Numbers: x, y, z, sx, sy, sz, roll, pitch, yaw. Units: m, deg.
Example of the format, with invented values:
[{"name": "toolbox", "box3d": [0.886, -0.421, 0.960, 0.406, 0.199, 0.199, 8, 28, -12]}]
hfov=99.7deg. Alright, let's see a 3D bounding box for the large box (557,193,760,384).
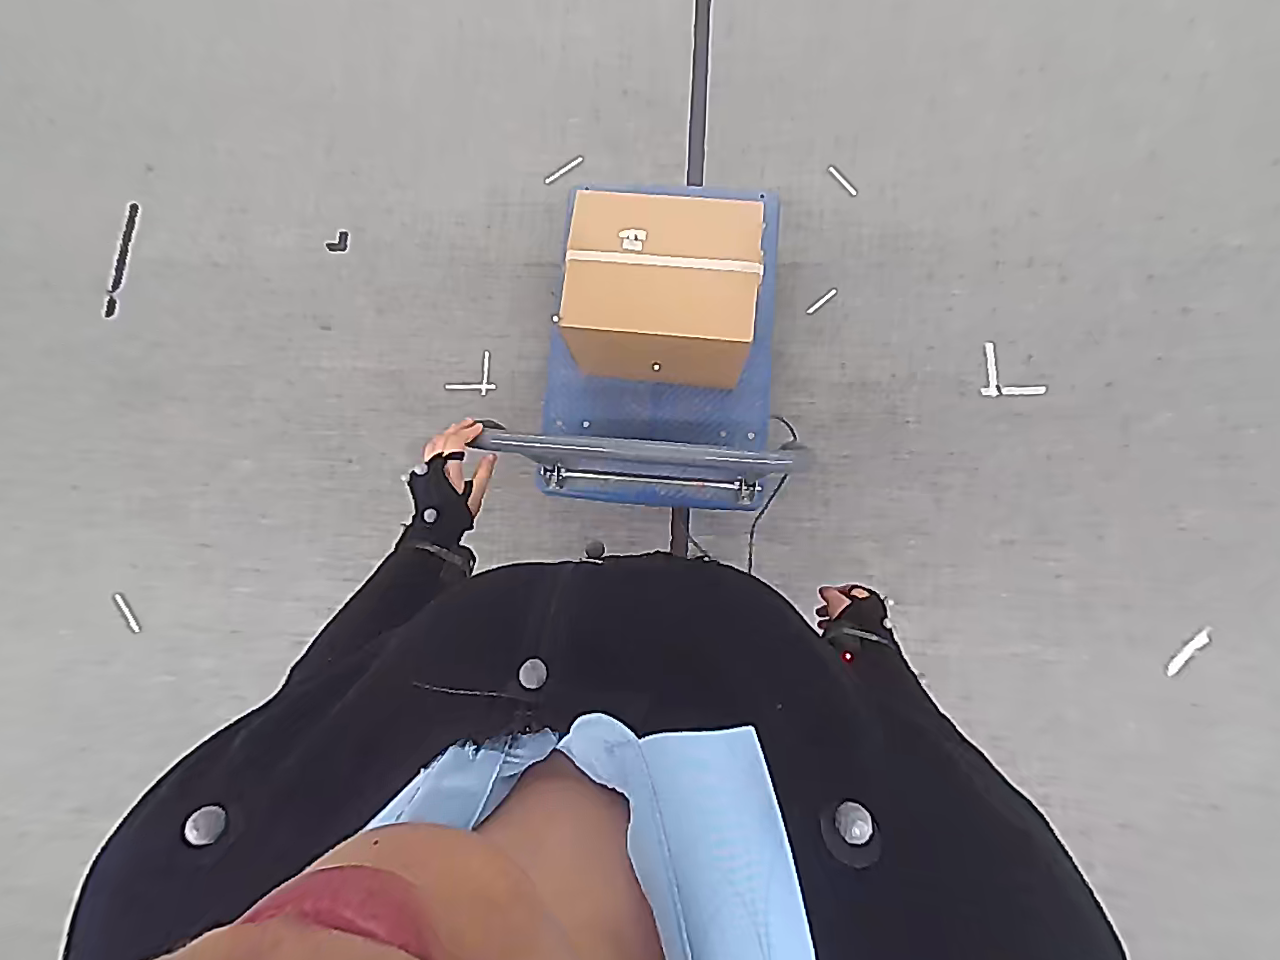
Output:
[{"name": "large box", "box3d": [0.054, -0.425, 1.260, 0.408, 0.320, 0.320, 5, 81, 6]}]
